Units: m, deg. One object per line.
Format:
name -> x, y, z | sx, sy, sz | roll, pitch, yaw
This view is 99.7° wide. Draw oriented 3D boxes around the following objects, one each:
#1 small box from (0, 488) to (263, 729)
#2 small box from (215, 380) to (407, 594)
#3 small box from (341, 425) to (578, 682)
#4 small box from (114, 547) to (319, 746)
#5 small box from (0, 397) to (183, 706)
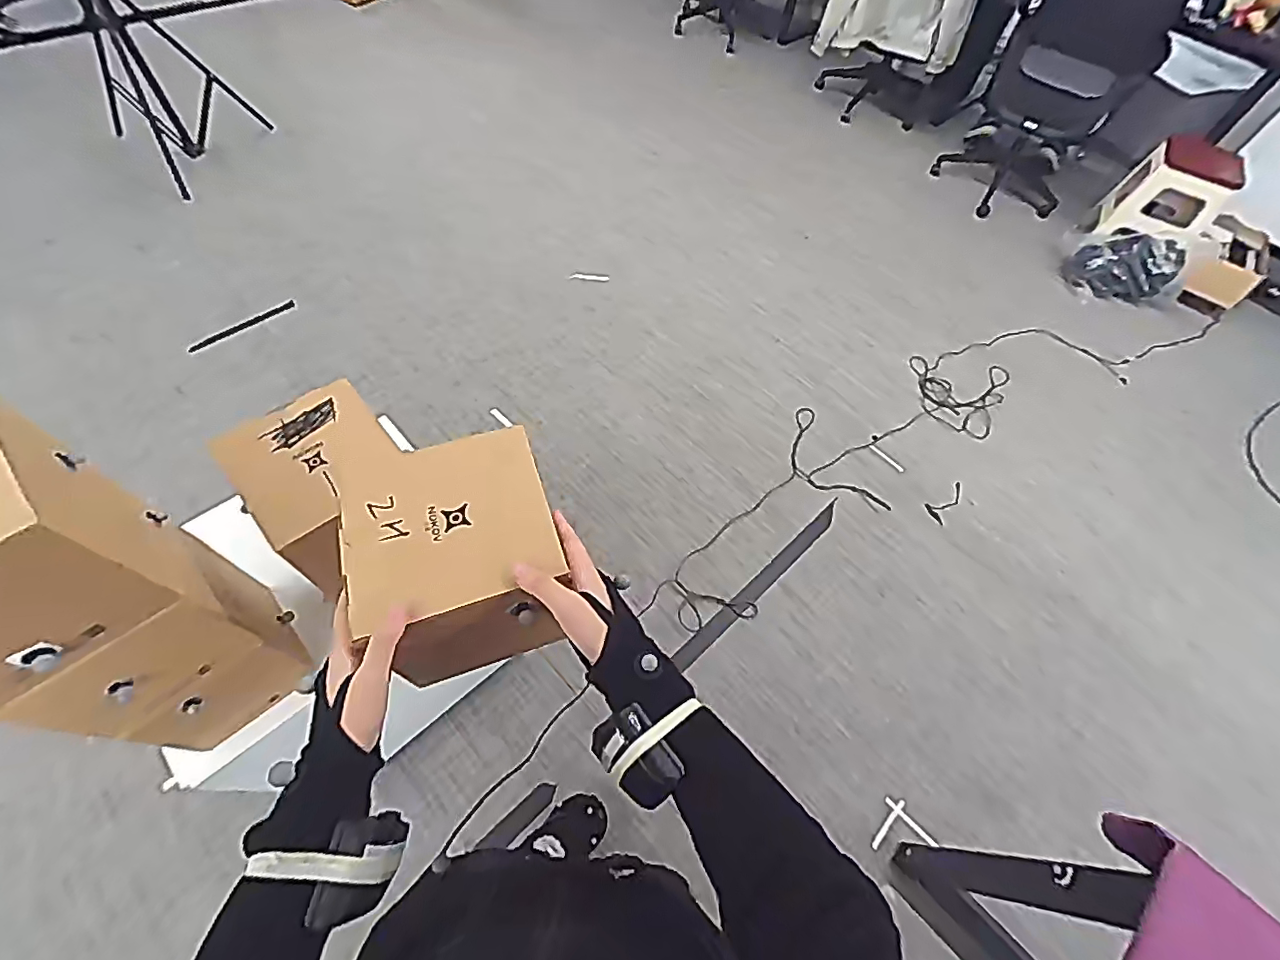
small box -> -0.564, 0.147, 0.590 | 0.168, 0.176, 0.179 | -38, 69, -24
small box -> -0.377, 0.014, 0.687 | 0.168, 0.176, 0.179 | -36, 70, -23
small box -> -0.164, 0.077, 0.531 | 0.179, 0.176, 0.168 | -17, 59, -11
small box -> -0.579, 0.230, 0.729 | 0.168, 0.176, 0.179 | -37, 68, -23
small box -> -0.550, 0.062, 0.453 | 0.168, 0.176, 0.179 | -39, 70, -24
